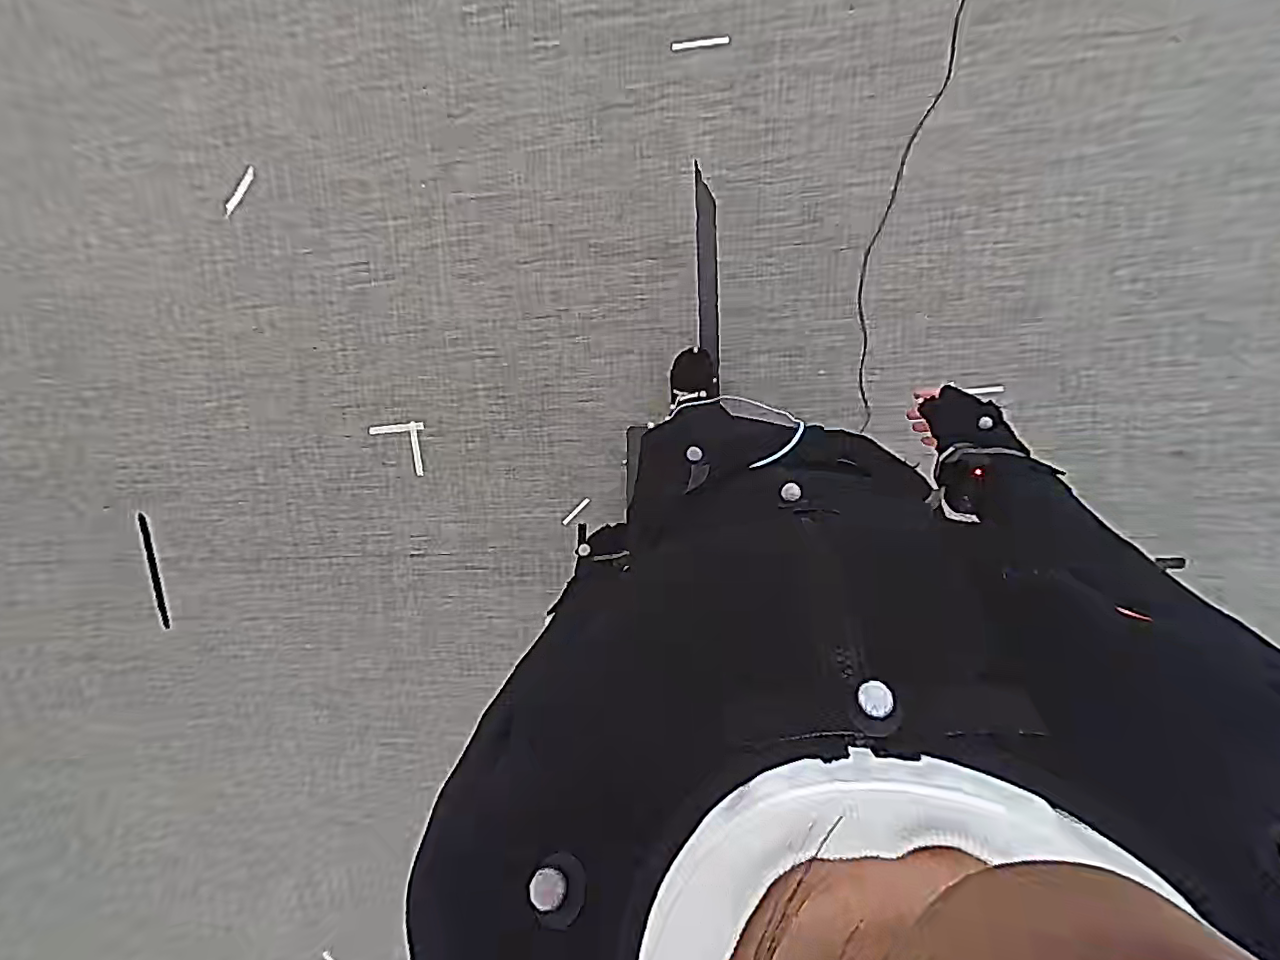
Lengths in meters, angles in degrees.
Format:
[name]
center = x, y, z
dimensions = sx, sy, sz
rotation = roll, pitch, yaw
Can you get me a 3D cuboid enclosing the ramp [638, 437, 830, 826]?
[ramp]
center = 0.238, 0.388, 1.442
dimensions = 0.509, 0.206, 0.991
rotation = -2, 97, 10
